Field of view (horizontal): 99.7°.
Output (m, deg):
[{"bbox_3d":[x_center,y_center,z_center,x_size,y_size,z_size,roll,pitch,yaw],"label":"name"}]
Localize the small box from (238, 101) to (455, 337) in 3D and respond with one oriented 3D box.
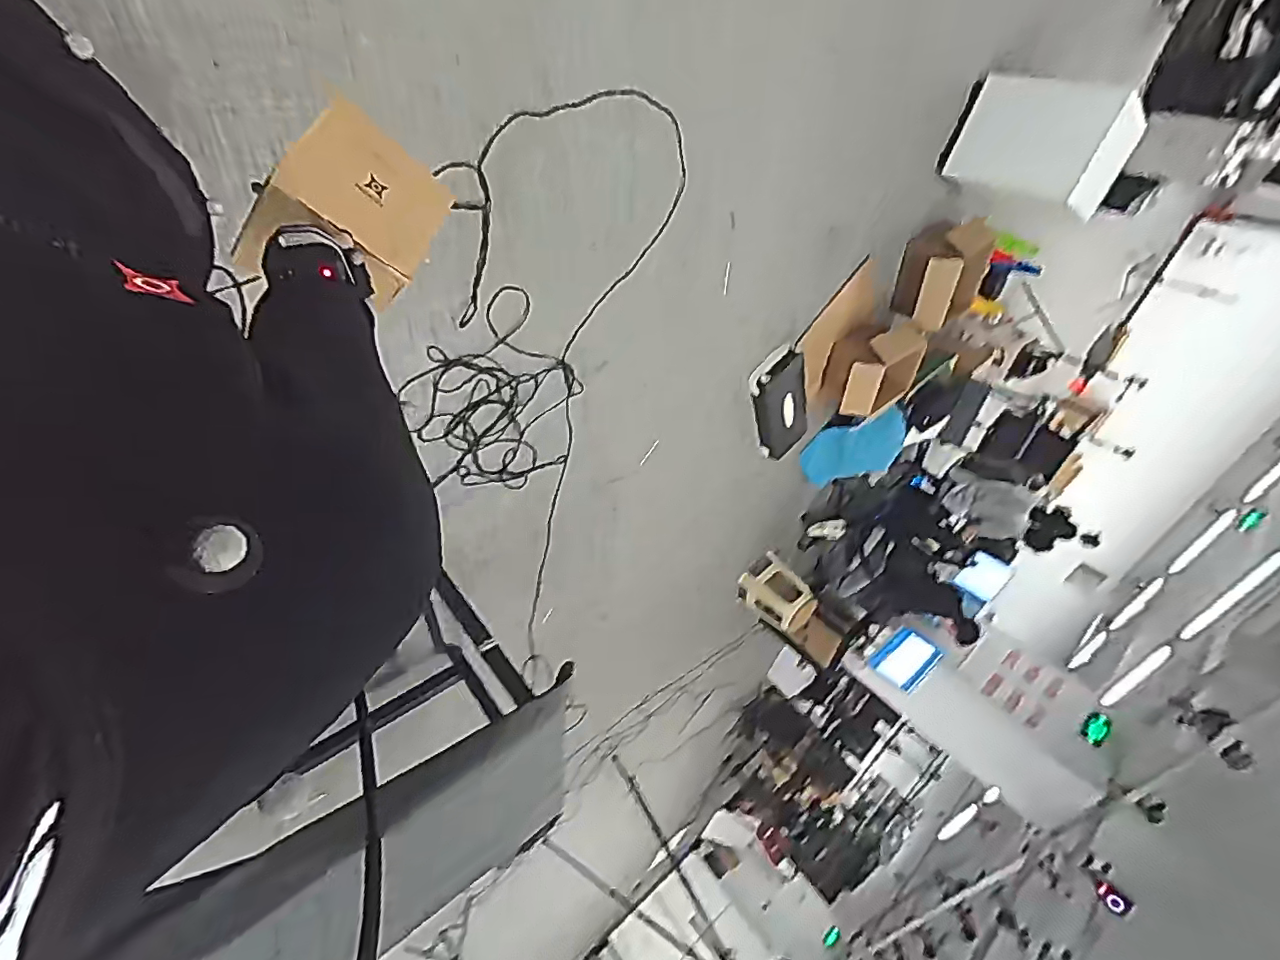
[{"bbox_3d":[-0.373,-0.317,0.689,0.168,0.176,0.179,35,51,-38],"label":"small box"}]
